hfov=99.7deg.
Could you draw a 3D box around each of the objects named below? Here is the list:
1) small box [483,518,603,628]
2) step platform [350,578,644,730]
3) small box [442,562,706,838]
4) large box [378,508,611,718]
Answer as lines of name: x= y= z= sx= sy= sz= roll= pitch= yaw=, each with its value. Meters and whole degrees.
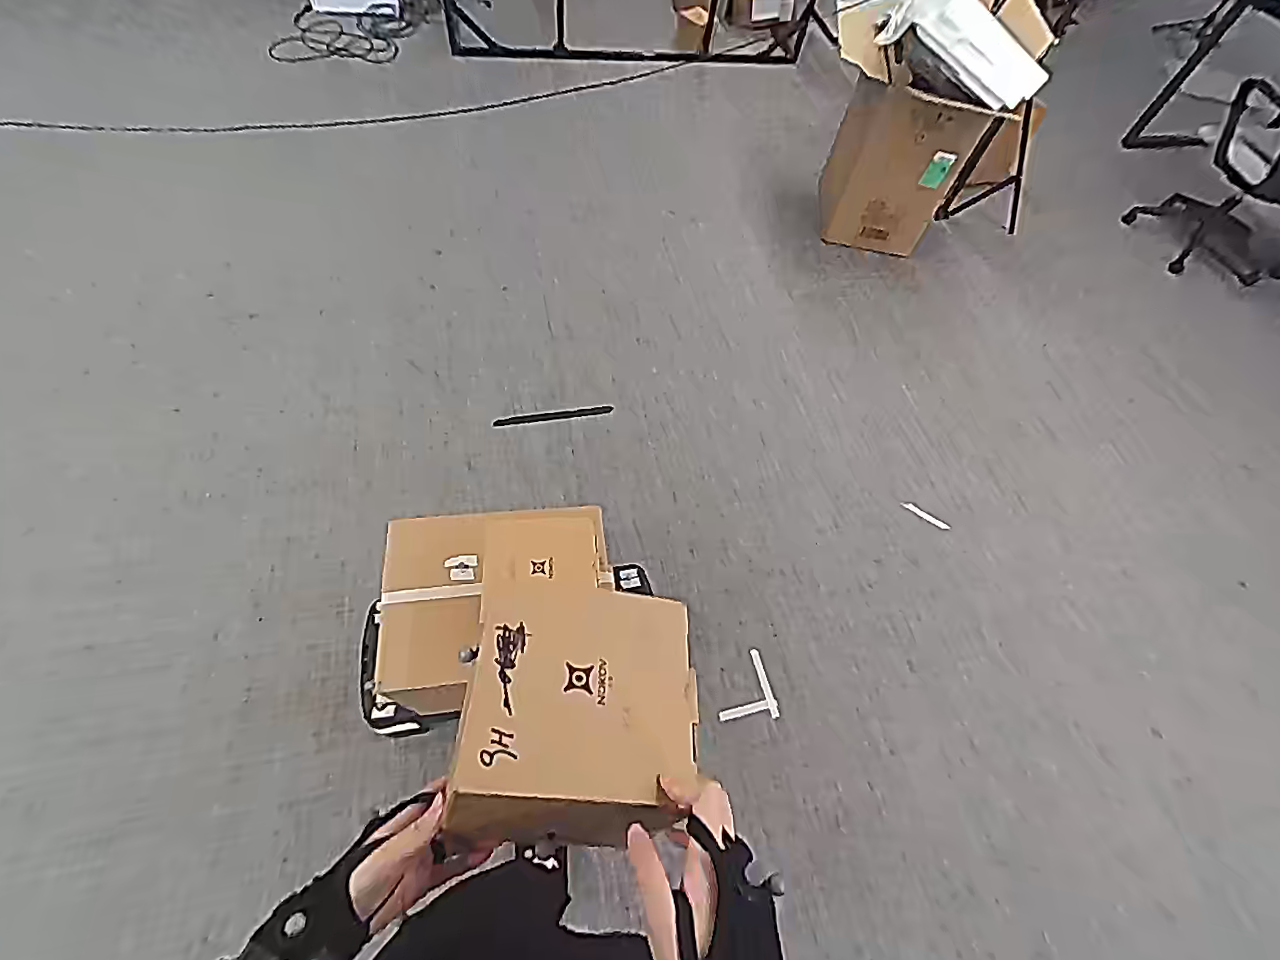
small box: x=-0.152 y=0.171 z=0.884 sx=0.179 sy=0.176 sz=0.168 roll=-1 pitch=61 yaw=-7
step platform: x=-0.303 y=0.408 z=1.291 sx=0.684 sy=0.204 sz=0.286 roll=-2 pitch=60 yaw=-7
small box: x=-0.060 y=0.198 z=0.471 sx=0.179 sy=0.176 sz=0.168 roll=13 pitch=45 yaw=-14
large box: x=-0.260 y=0.276 z=1.095 sx=0.408 sy=0.320 sz=0.320 roll=-4 pitch=60 yaw=-8
